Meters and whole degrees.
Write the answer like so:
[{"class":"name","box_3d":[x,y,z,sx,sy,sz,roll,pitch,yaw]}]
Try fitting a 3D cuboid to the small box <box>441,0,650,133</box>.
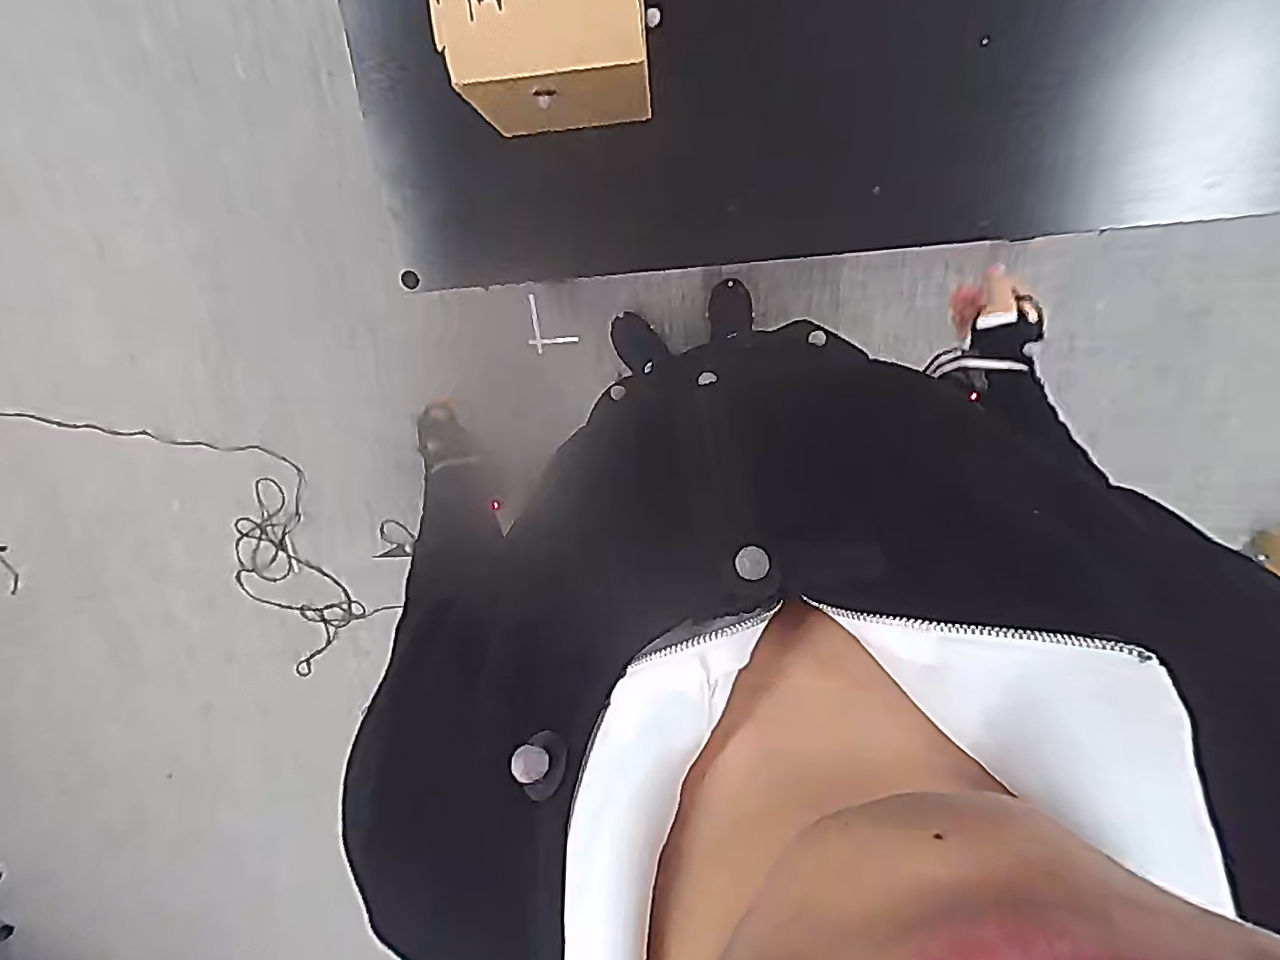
[{"class":"small box","box_3d":[-0.086,-0.466,0.537,0.179,0.176,0.168,-4,109,4]}]
